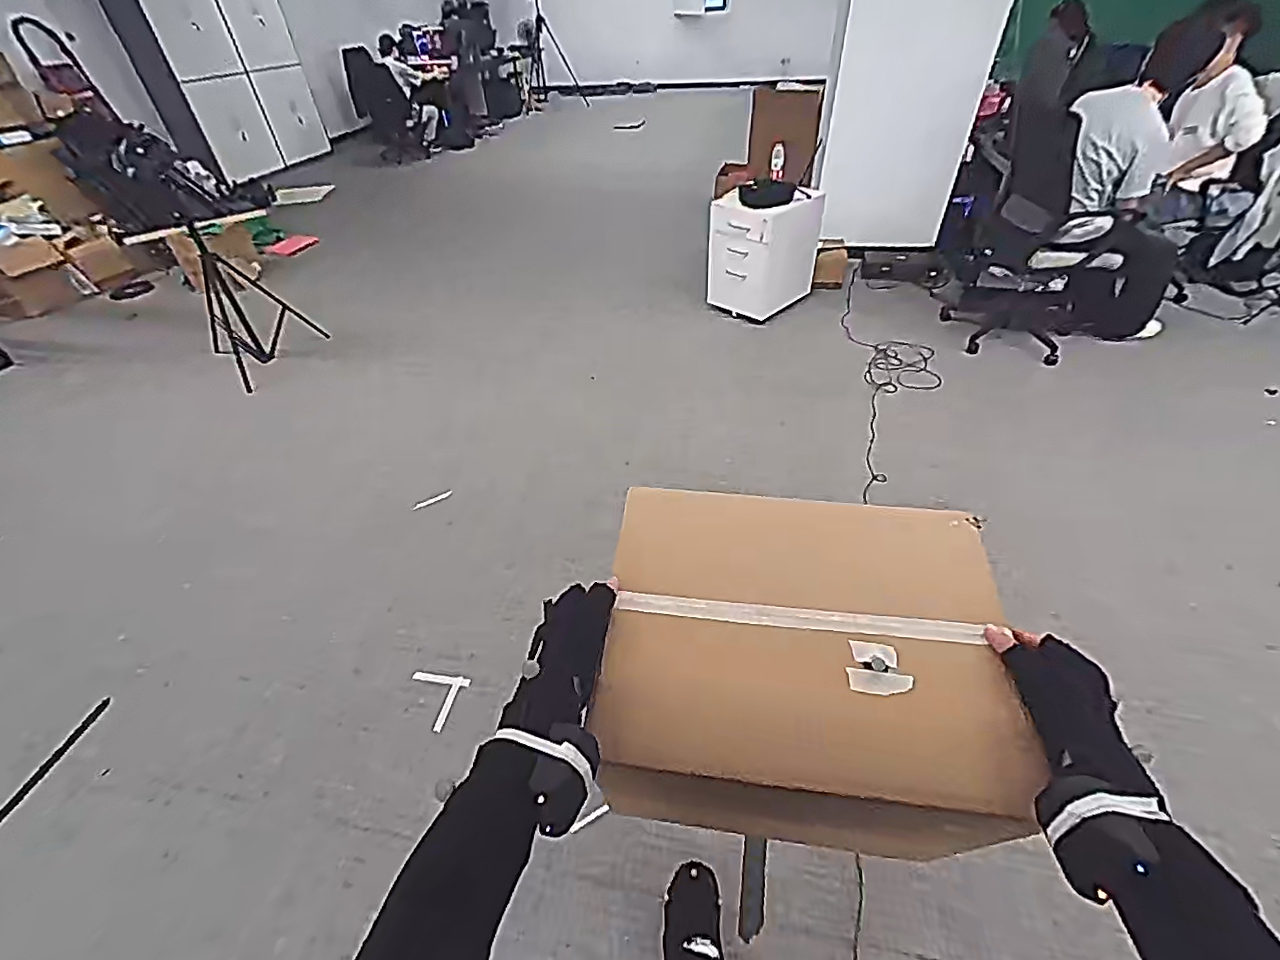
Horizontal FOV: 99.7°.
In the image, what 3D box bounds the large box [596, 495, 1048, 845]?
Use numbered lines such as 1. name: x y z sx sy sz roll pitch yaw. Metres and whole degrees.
1. large box: 0.176 0.241 0.688 0.408 0.320 0.320 4 51 7
